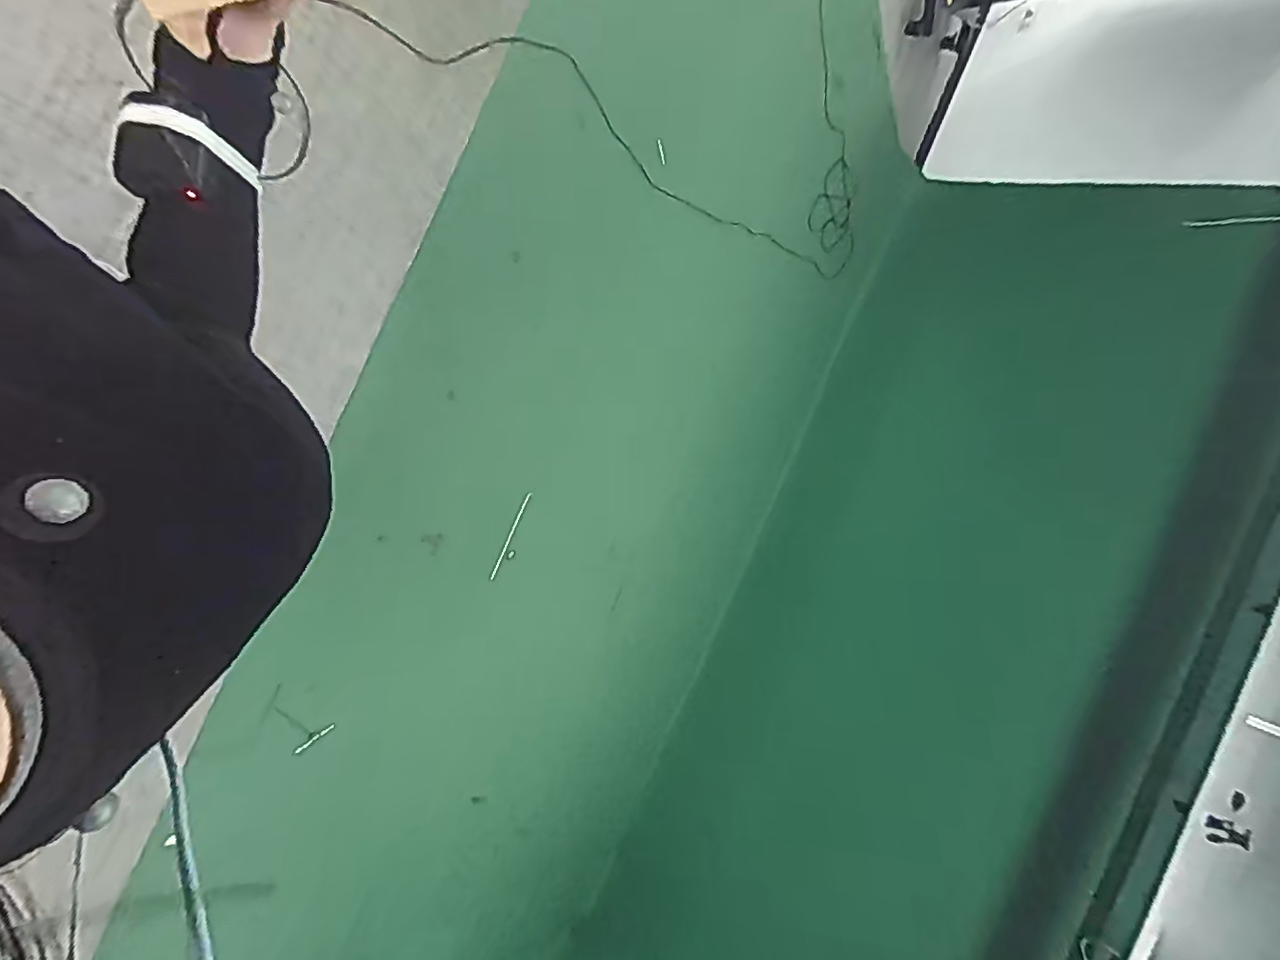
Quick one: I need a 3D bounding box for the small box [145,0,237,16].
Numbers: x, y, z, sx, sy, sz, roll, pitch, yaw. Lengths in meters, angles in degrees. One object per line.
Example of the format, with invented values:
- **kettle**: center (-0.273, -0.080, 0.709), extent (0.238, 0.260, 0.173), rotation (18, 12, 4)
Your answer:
- **small box**: center (-0.207, -0.368, 0.270), extent (0.168, 0.179, 0.176), rotation (-22, 136, -4)
